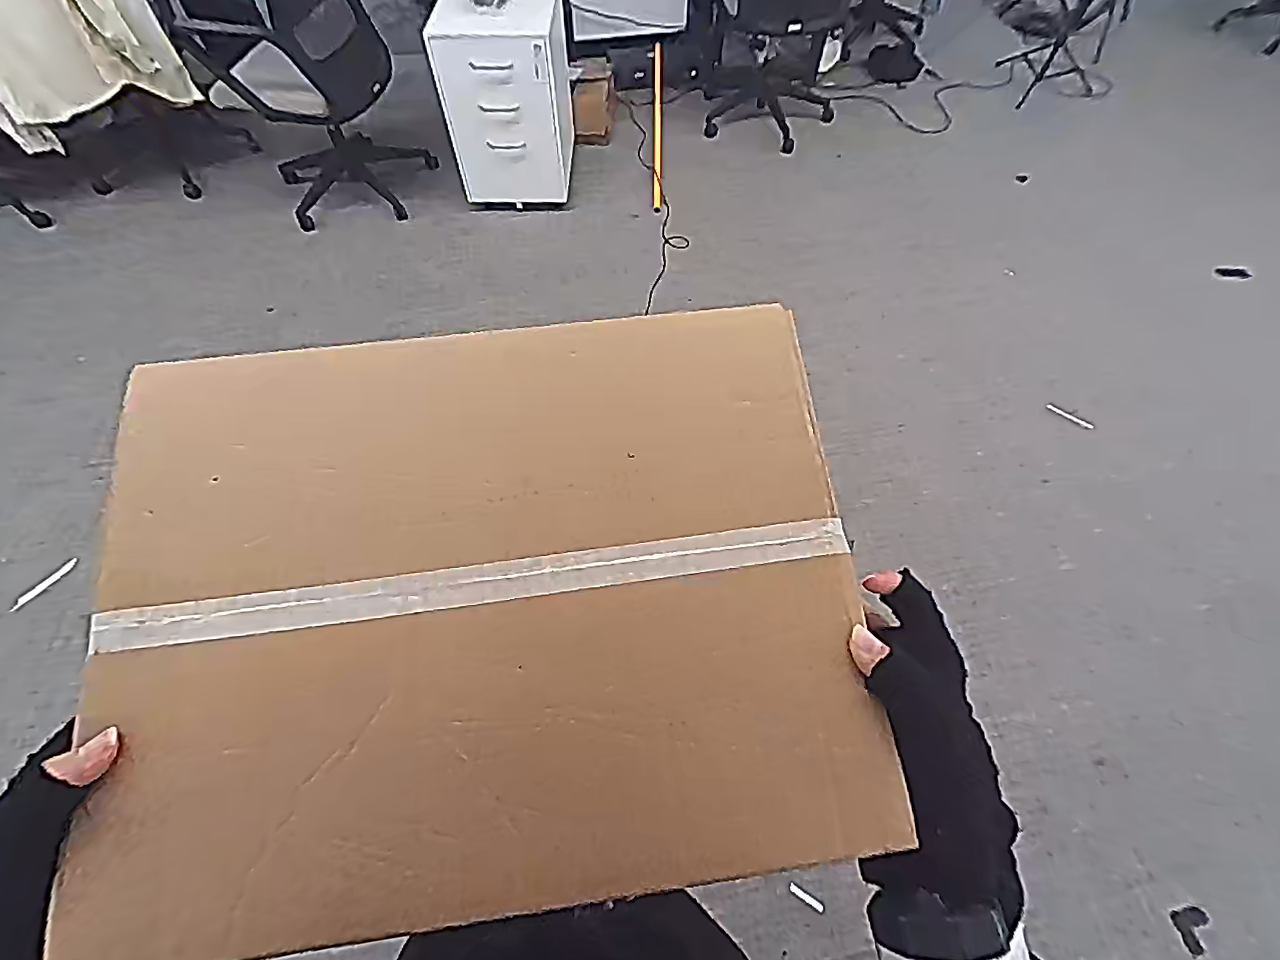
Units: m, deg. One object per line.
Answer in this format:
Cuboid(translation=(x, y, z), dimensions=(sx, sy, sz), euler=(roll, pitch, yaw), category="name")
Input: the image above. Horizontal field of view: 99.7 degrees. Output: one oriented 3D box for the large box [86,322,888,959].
Cuboid(translation=(-0.089, 0.106, 0.449), dimensions=(0.408, 0.320, 0.320), euler=(-7, 73, -4), category="large box")
